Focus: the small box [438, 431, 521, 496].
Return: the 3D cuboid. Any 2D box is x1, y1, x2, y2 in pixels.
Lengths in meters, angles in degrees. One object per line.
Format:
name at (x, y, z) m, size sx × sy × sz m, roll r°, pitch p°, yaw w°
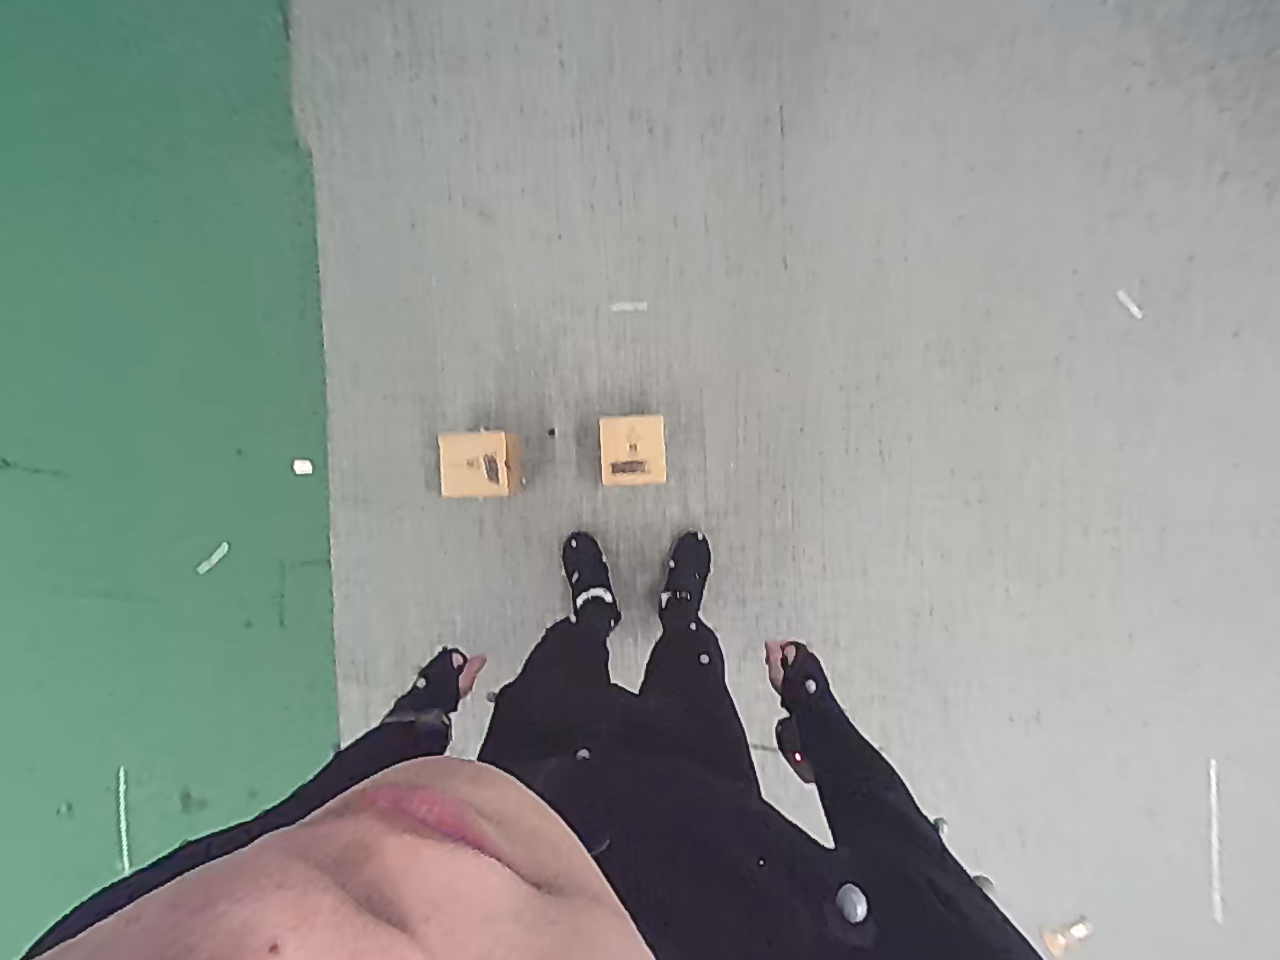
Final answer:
small box at (-0.422, -0.046, 1.449) m, size 0.179 × 0.176 × 0.168 m, roll -2°, pitch 91°, yaw 1°
